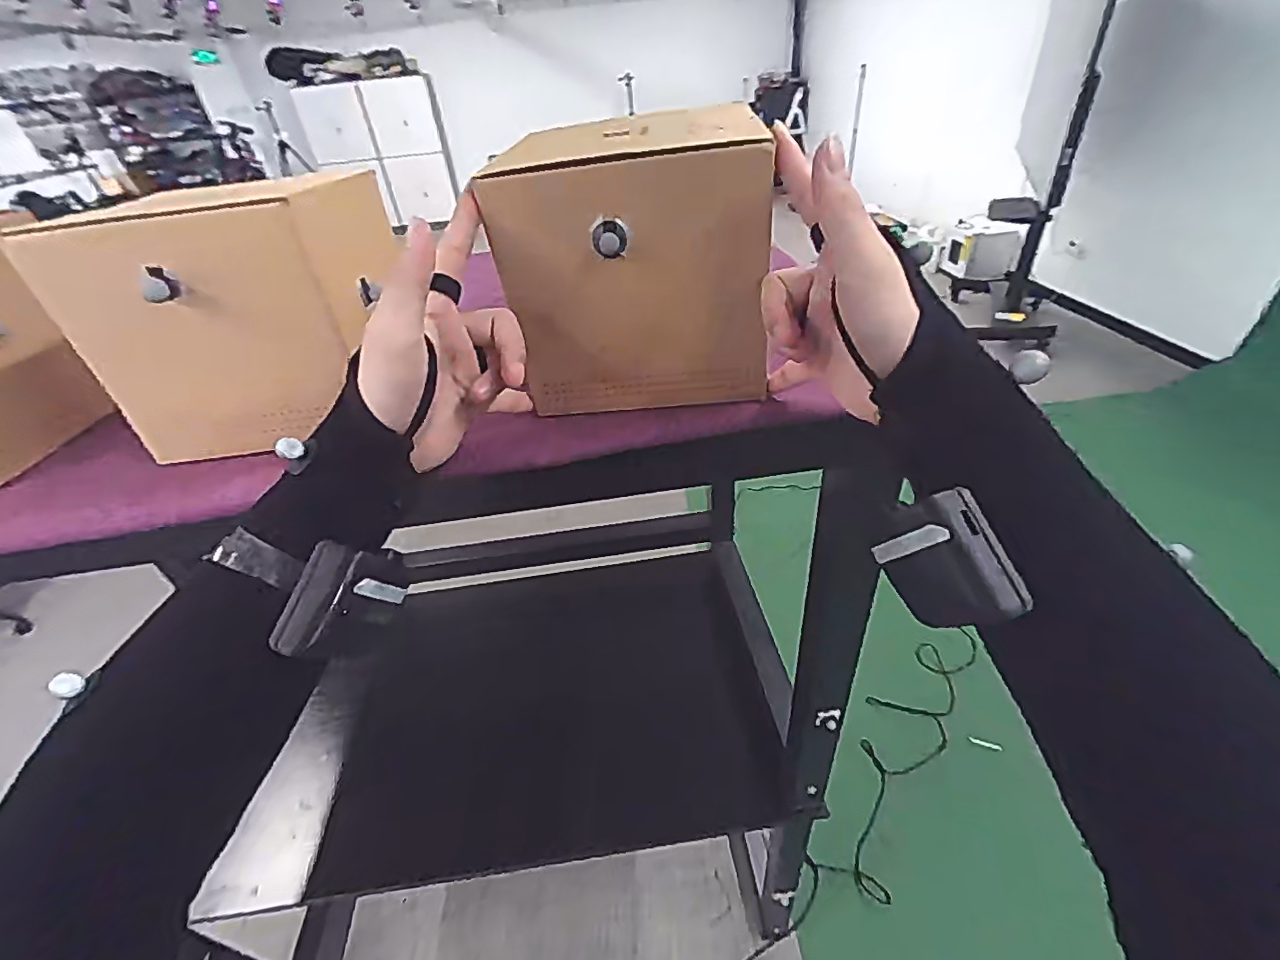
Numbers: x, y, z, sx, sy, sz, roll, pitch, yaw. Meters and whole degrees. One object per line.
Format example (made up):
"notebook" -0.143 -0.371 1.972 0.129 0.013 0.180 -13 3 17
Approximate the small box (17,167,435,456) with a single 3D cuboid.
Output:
"small box" -0.287 -0.137 0.435 0.179 0.176 0.168 -8 35 0

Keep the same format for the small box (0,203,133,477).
"small box" -0.567 -0.102 0.425 0.168 0.176 0.179 -8 36 -3

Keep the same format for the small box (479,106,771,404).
"small box" 0.004 -0.171 0.420 0.179 0.176 0.168 -3 40 7
